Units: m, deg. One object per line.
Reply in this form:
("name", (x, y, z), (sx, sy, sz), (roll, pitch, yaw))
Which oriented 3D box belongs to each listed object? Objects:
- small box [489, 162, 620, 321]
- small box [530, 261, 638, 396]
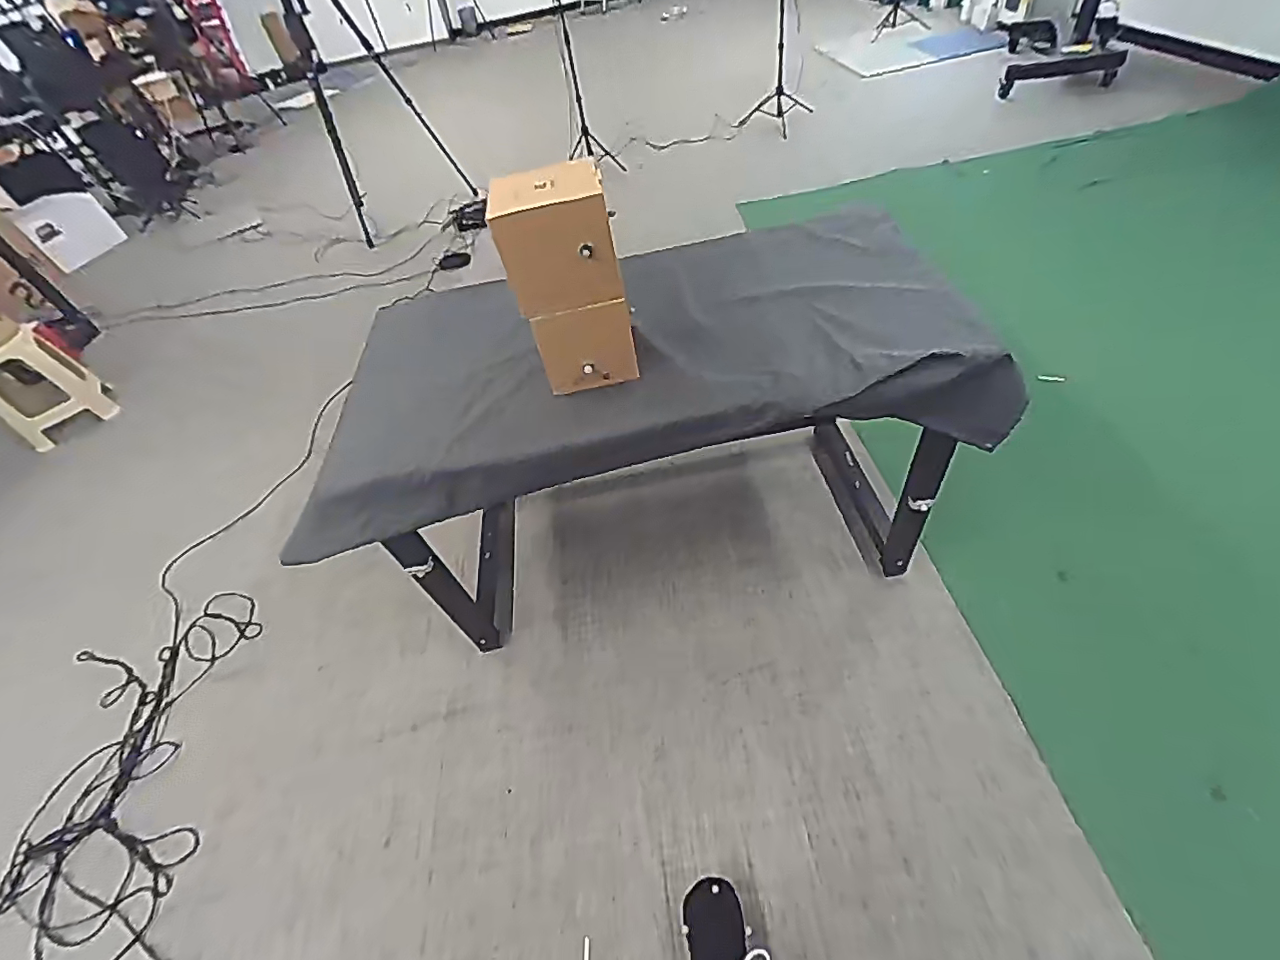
("small box", (-0.133, -0.389, 0.890), (0.179, 0.176, 0.168), (-13, 47, 2))
("small box", (-0.102, -0.285, 1.012), (0.168, 0.176, 0.179), (-11, 49, 2))
